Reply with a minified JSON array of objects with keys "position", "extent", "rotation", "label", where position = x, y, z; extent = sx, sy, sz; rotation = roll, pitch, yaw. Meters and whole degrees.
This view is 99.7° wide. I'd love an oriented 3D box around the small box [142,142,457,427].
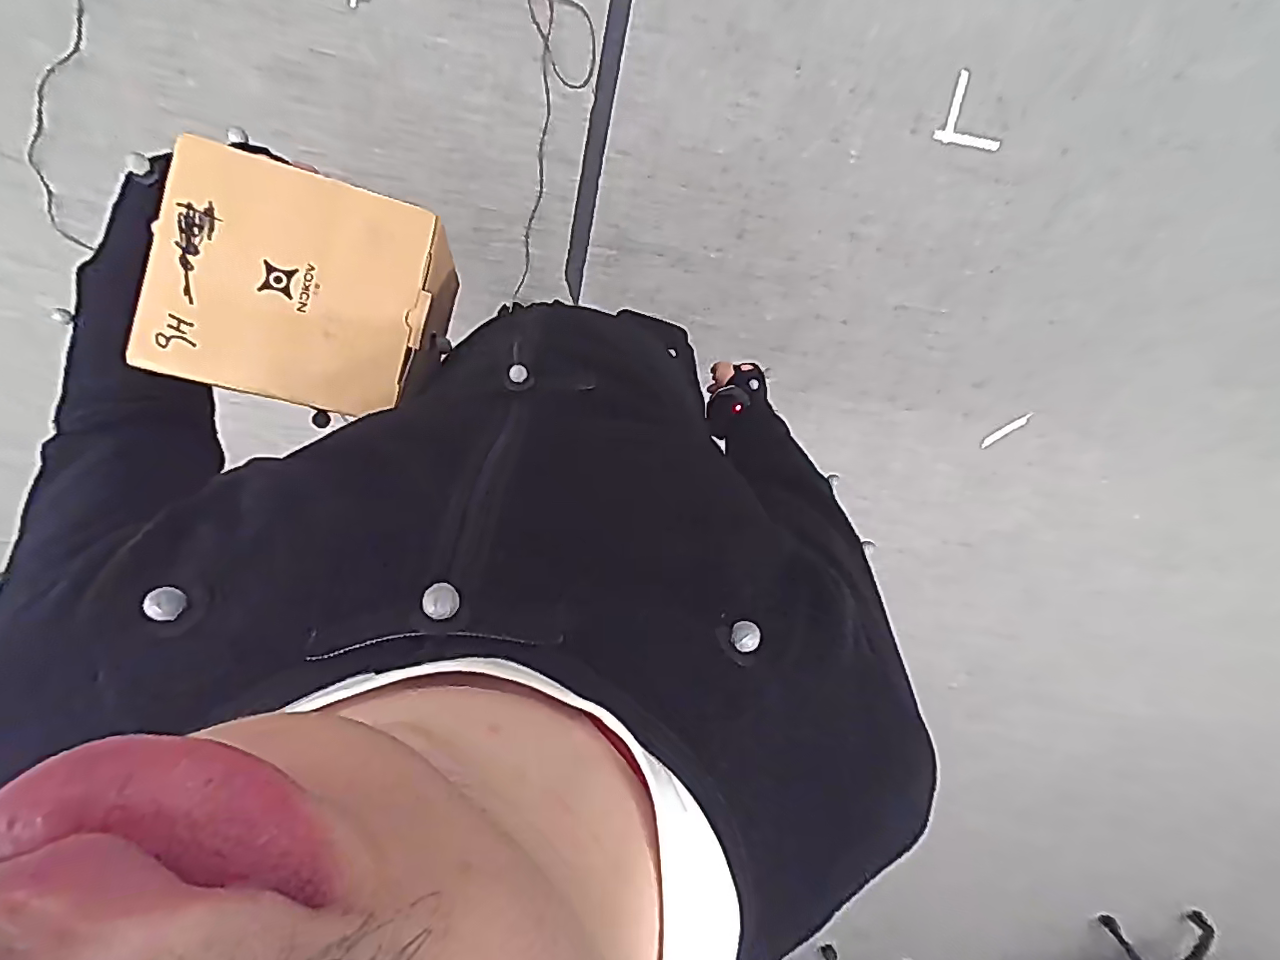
[{"position":[-0.269,-0.145,0.476],"extent":[0.179,0.176,0.168],"rotation":[13,89,-14],"label":"small box"}]
